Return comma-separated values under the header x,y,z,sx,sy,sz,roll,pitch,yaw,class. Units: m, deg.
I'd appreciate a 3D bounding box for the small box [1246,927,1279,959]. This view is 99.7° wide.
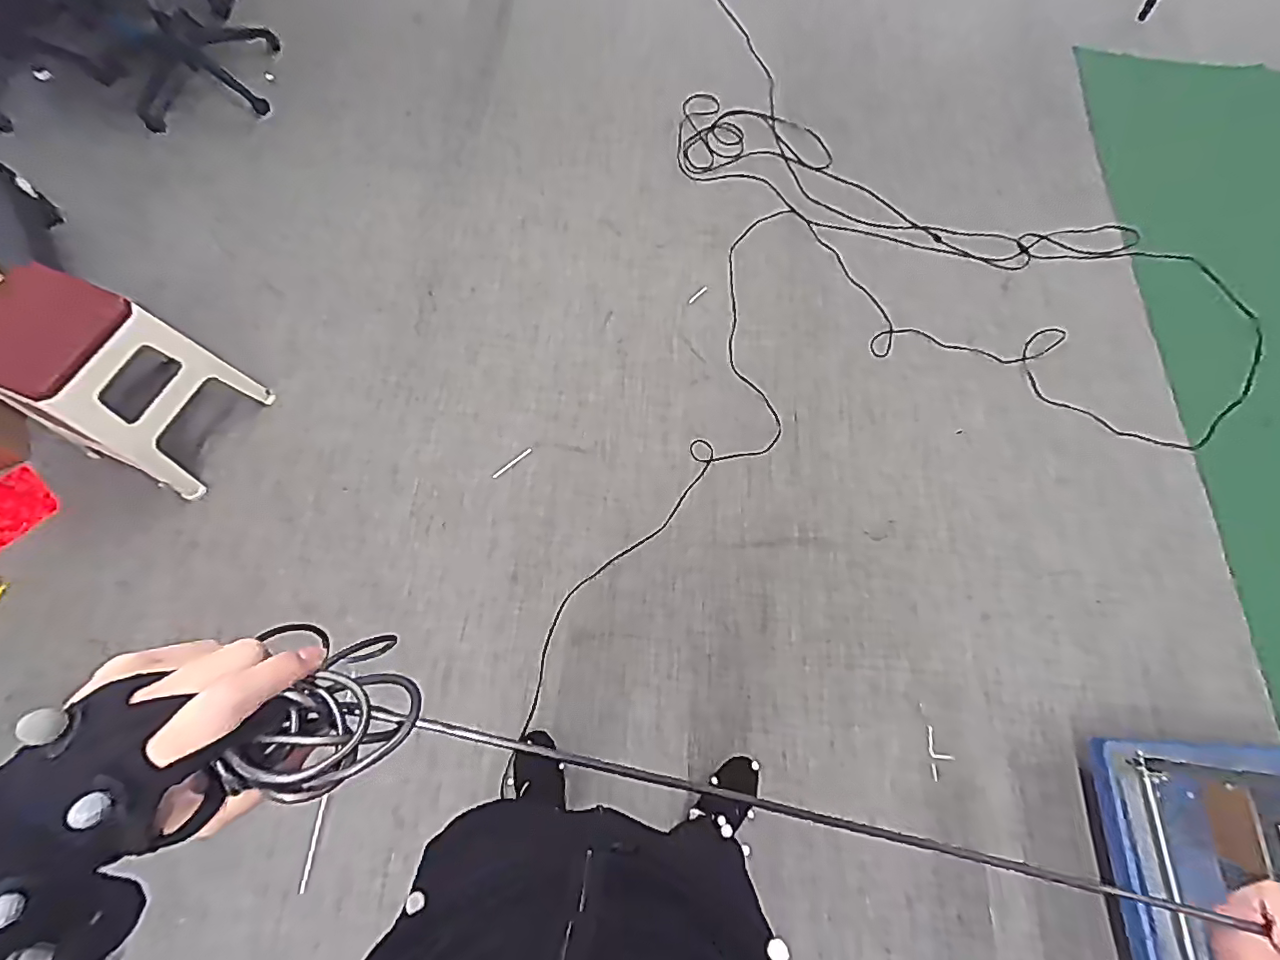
x,y,z,sx,sy,sz,roll,pitch,yaw,class
1.375,1.011,1.056,0.179,0.176,0.168,5,69,0,small box
